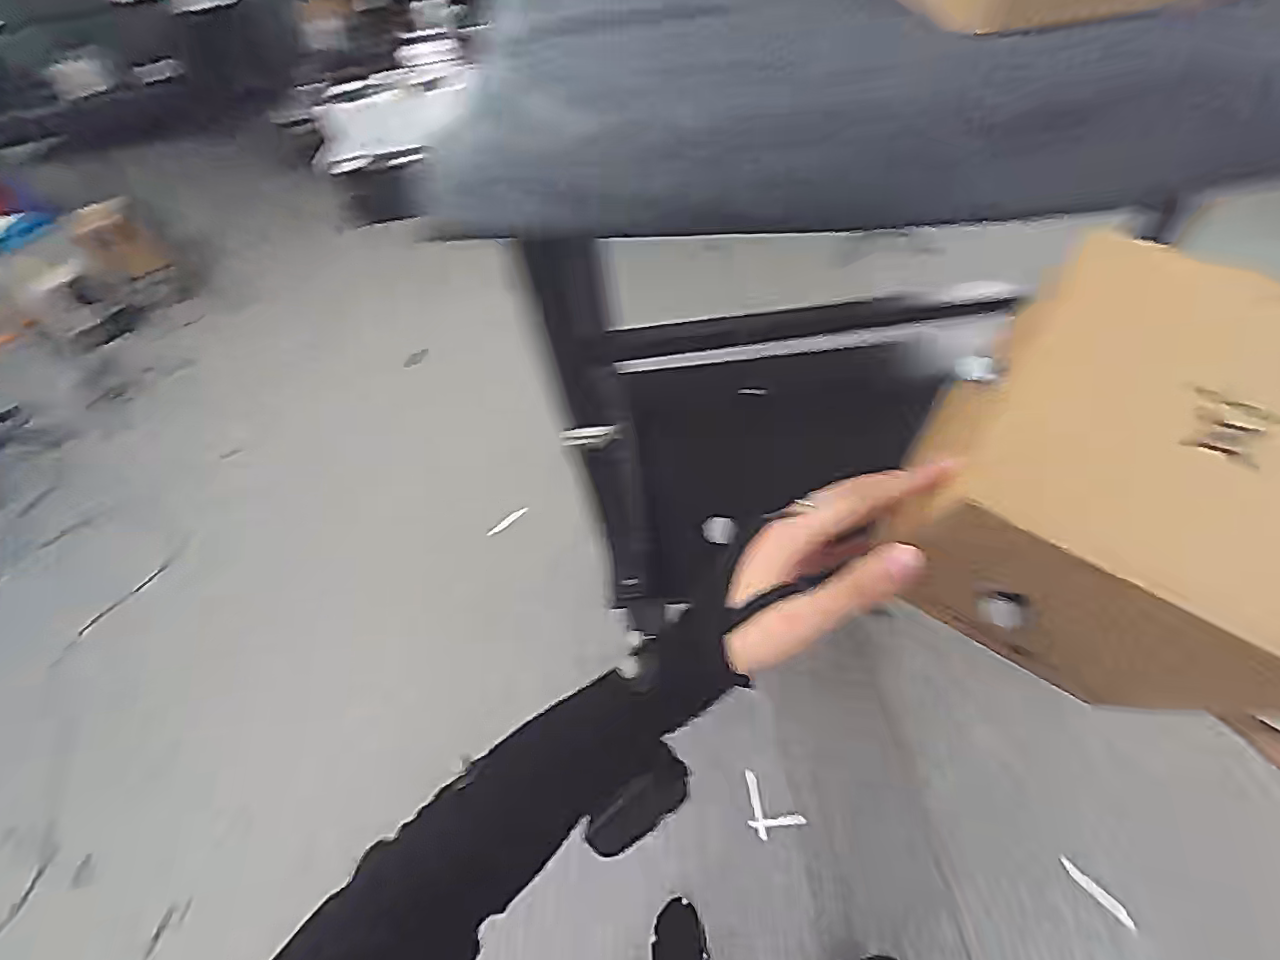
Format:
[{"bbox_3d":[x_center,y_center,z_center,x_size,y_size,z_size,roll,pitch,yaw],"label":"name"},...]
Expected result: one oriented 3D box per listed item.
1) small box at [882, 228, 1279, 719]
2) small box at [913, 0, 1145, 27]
[{"bbox_3d":[0.260,0.012,0.297,0.168,0.176,0.179,31,75,16],"label":"small box"},{"bbox_3d":[0.312,-0.471,0.406,0.179,0.176,0.168,-7,52,2],"label":"small box"}]
